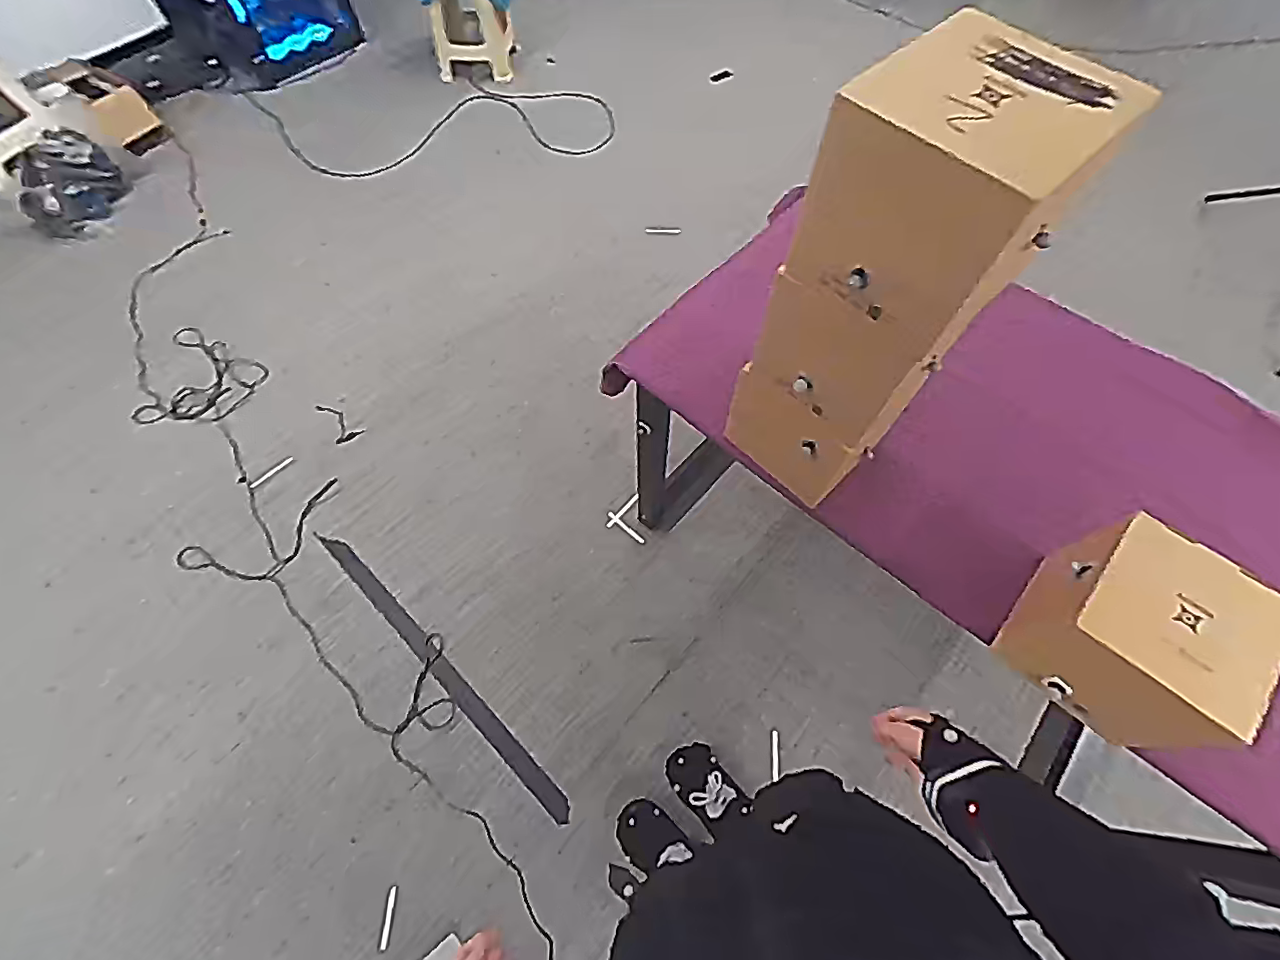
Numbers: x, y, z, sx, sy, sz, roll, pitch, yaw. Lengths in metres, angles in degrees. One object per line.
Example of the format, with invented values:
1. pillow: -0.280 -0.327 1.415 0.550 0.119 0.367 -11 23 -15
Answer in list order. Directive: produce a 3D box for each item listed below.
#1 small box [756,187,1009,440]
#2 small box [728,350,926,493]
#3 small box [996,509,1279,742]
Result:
1. small box: 0.254 -0.181 0.612 0.179 0.176 0.168 -42 70 -17
2. small box: 0.246 -0.103 0.757 0.168 0.176 0.179 -40 70 -18
3. small box: 0.558 0.170 0.619 0.168 0.176 0.179 39 71 19
